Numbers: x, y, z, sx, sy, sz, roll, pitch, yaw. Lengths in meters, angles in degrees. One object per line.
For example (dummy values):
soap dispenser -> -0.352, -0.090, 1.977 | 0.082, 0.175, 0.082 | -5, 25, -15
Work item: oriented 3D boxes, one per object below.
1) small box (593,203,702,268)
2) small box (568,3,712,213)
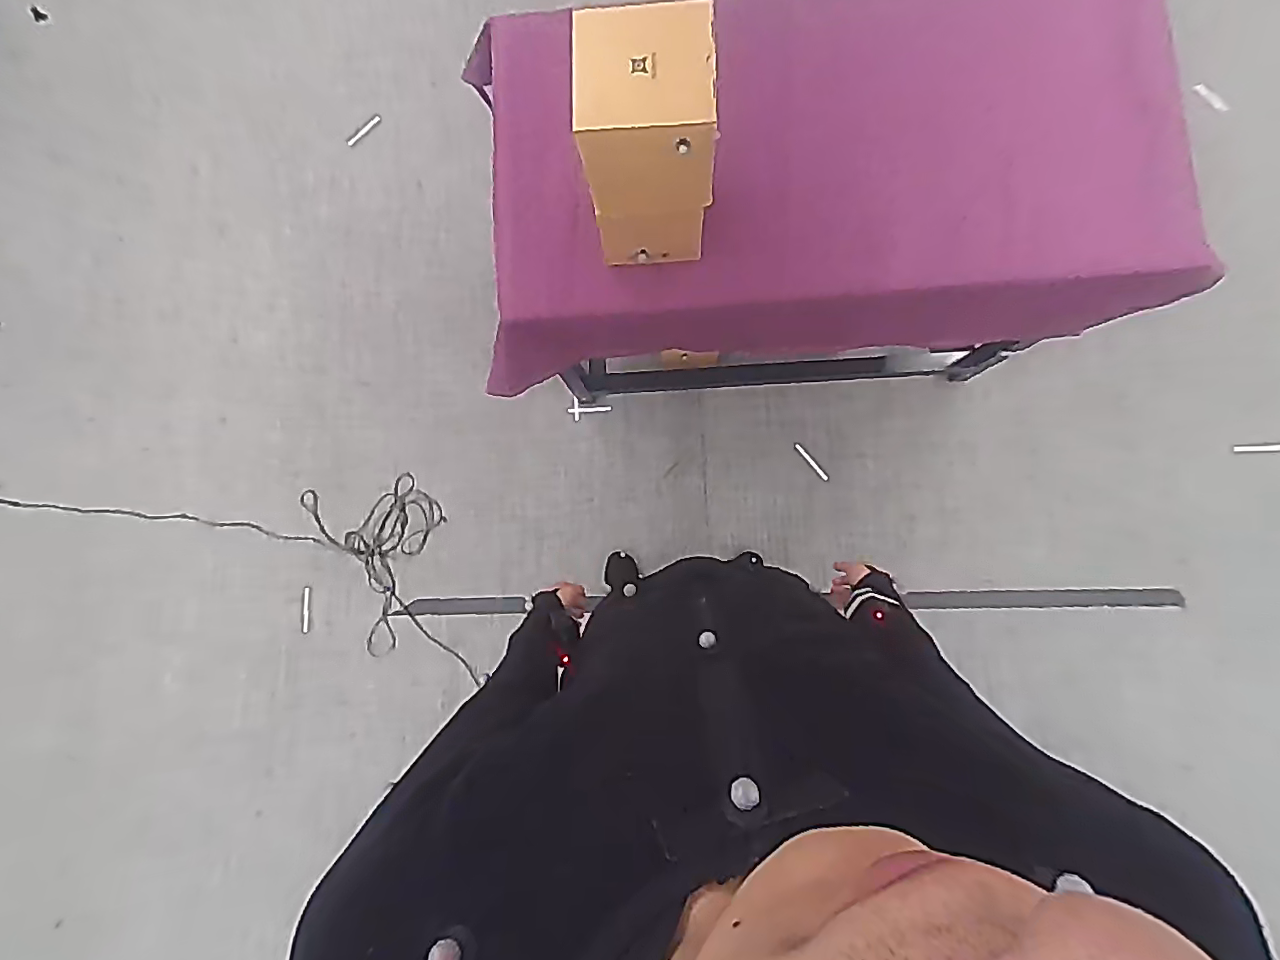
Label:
small box -> 0.015, -0.475, 0.892 | 0.168, 0.176, 0.179 | -2, 85, 5
small box -> 0.006, -0.485, 0.730 | 0.179, 0.176, 0.168 | -1, 84, 4
